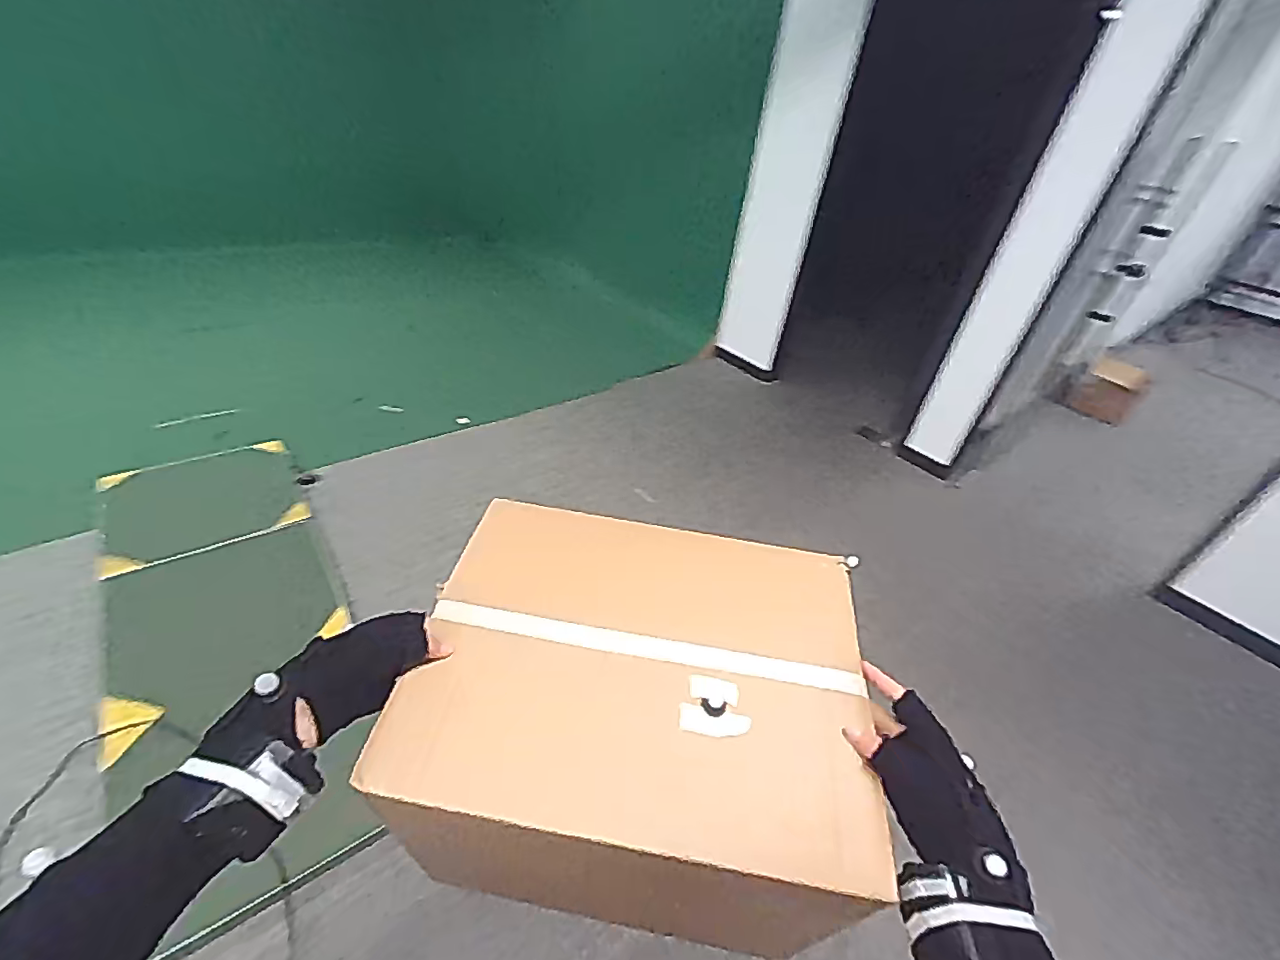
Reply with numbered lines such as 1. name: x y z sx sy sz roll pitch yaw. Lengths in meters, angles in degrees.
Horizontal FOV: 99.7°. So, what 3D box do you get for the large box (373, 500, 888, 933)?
1. large box: -0.006 0.262 0.613 0.408 0.320 0.320 9 43 3
